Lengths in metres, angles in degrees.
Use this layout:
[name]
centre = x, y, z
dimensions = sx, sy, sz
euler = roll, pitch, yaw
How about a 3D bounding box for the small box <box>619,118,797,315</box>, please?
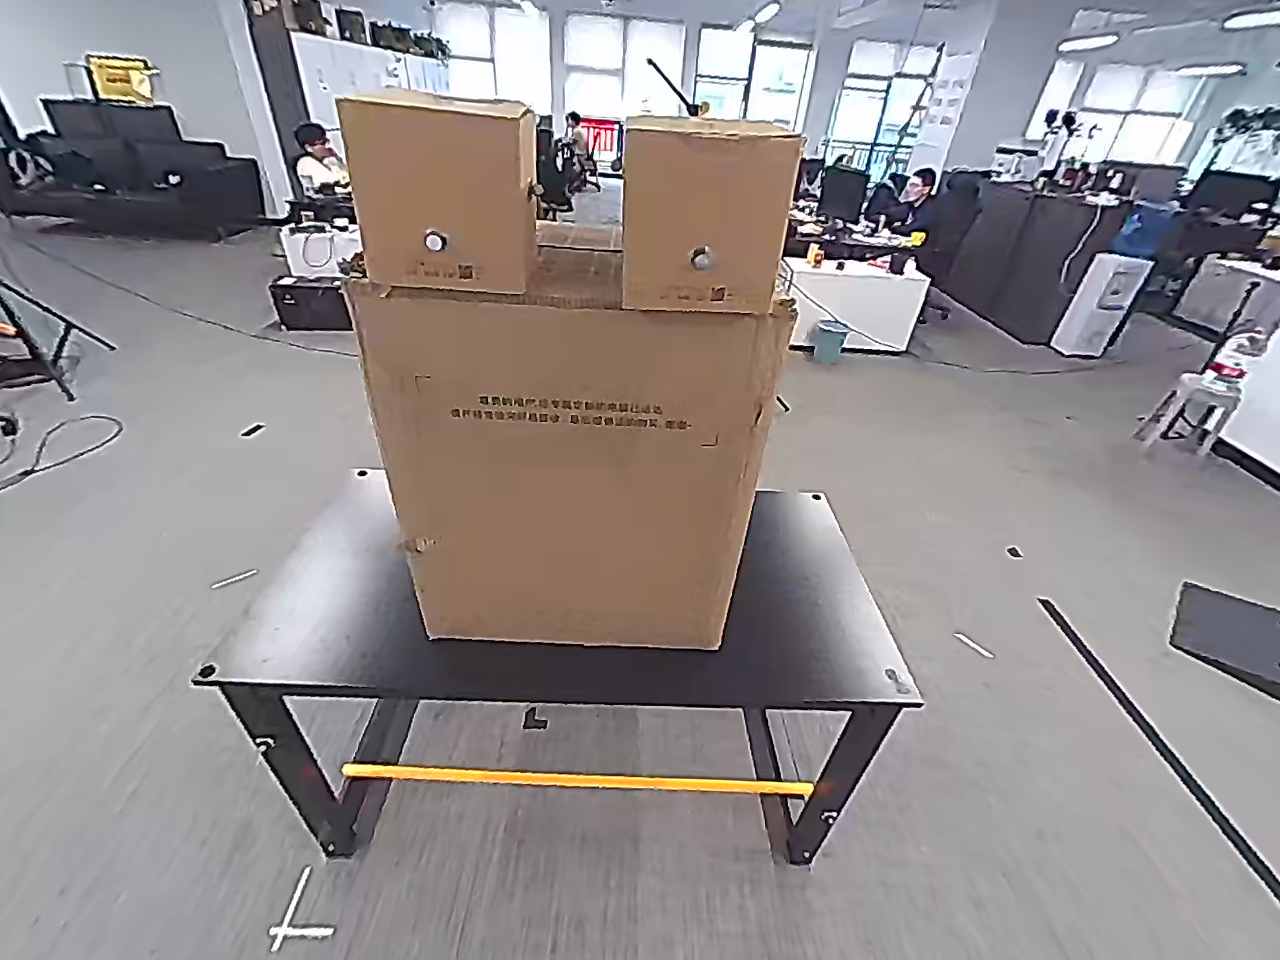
[small box]
centre = 0.062, -0.301, 0.614
dimensions = 0.168, 0.176, 0.179
euler = 1, 37, -2
